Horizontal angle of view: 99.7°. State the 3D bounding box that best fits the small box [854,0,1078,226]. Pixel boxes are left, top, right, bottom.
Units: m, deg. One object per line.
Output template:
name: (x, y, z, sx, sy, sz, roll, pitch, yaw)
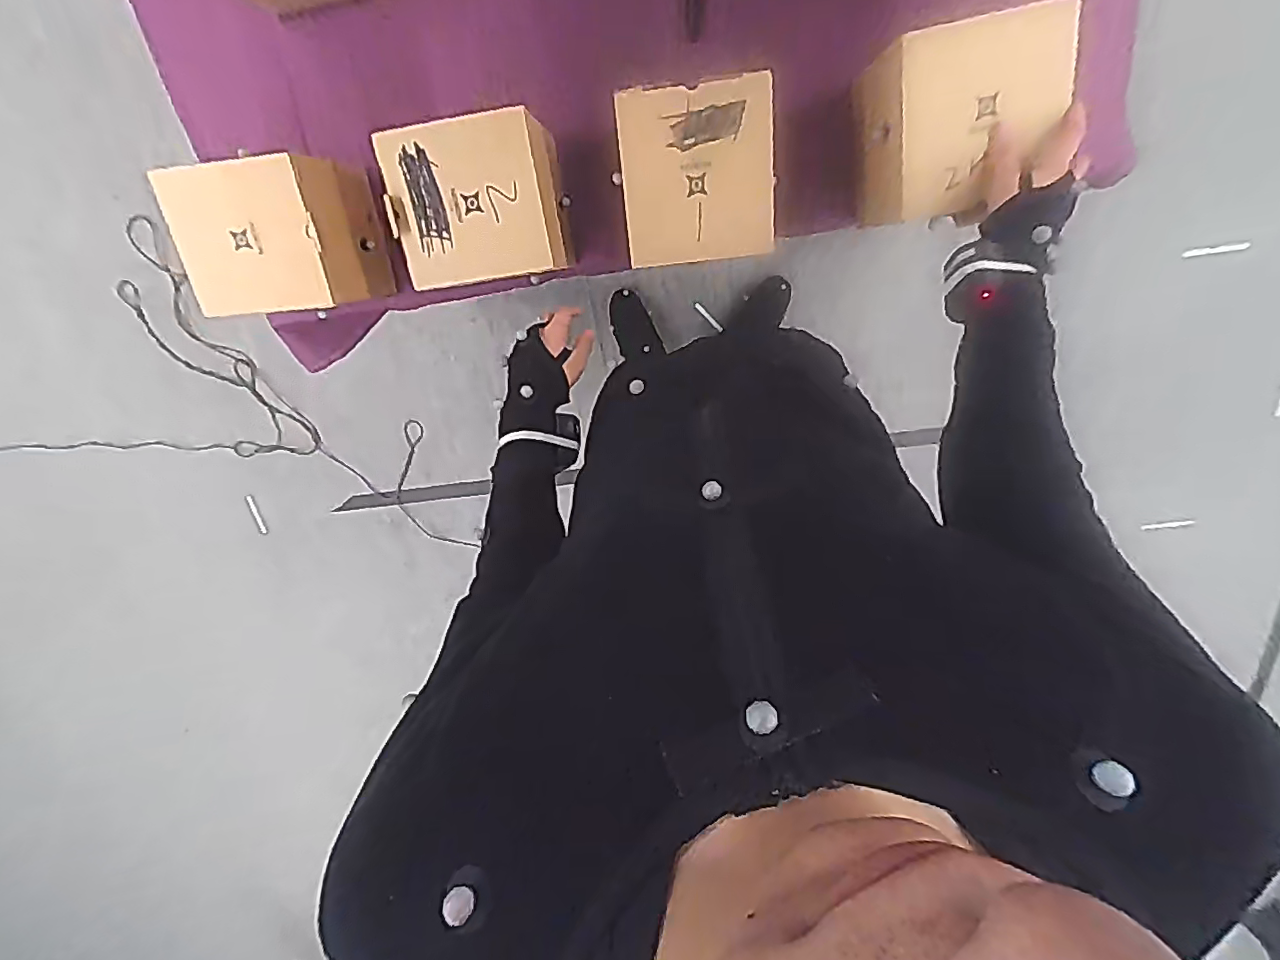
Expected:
small box: (0.355, -0.405, 0.626, 0.168, 0.176, 0.179, -8, 112, 8)
